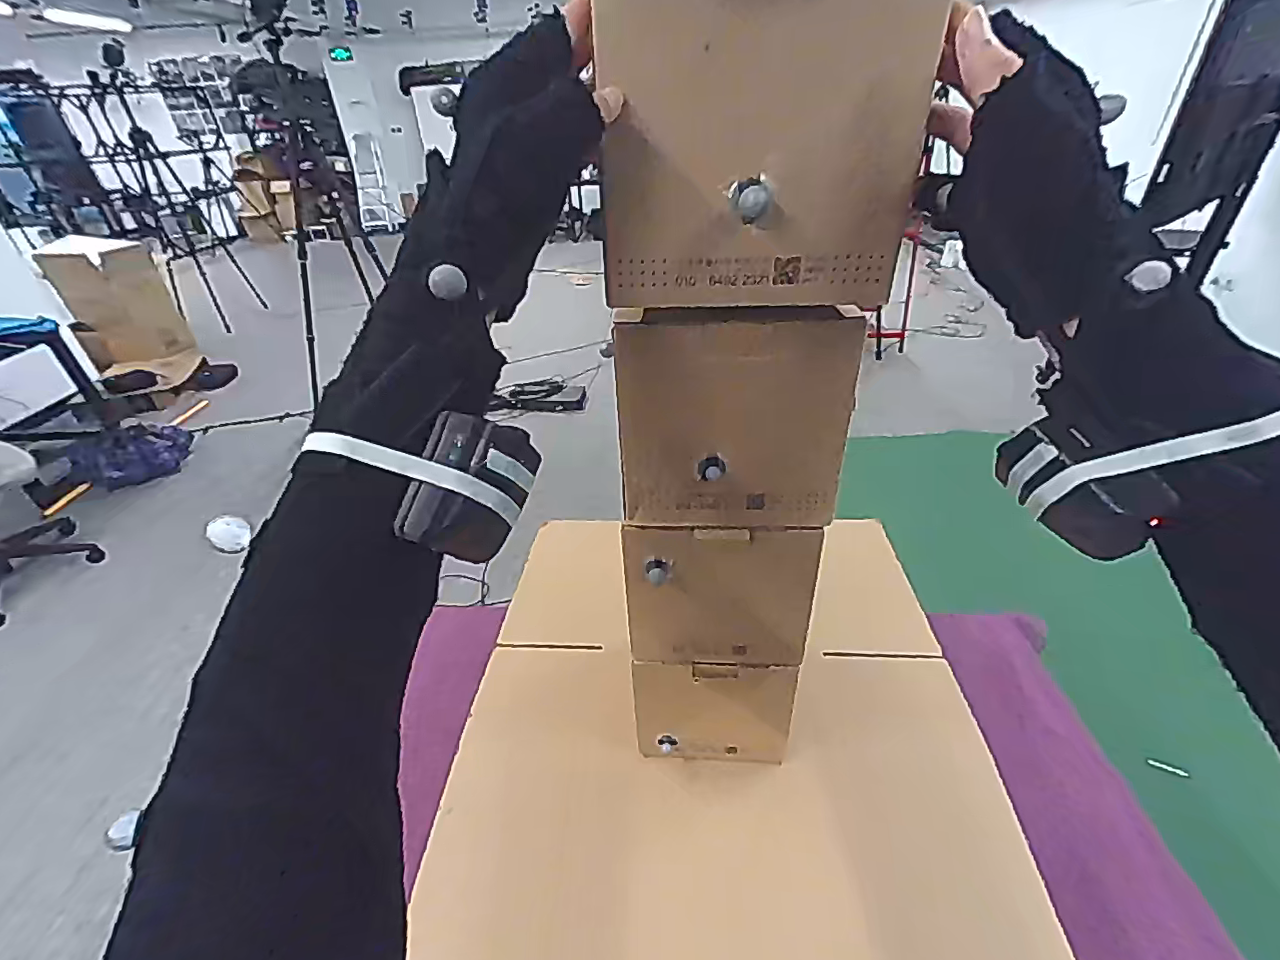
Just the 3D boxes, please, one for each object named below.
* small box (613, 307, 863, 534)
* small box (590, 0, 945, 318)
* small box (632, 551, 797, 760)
[{"bbox_3d":[0.071,-0.073,0.464,0.168,0.176,0.179,0,33,4],"label":"small box"},{"bbox_3d":[0.062,-0.211,0.350,0.168,0.176,0.179,0,32,4],"label":"small box"},{"bbox_3d":[0.085,0.204,0.640,0.168,0.176,0.179,0,33,6],"label":"small box"}]
